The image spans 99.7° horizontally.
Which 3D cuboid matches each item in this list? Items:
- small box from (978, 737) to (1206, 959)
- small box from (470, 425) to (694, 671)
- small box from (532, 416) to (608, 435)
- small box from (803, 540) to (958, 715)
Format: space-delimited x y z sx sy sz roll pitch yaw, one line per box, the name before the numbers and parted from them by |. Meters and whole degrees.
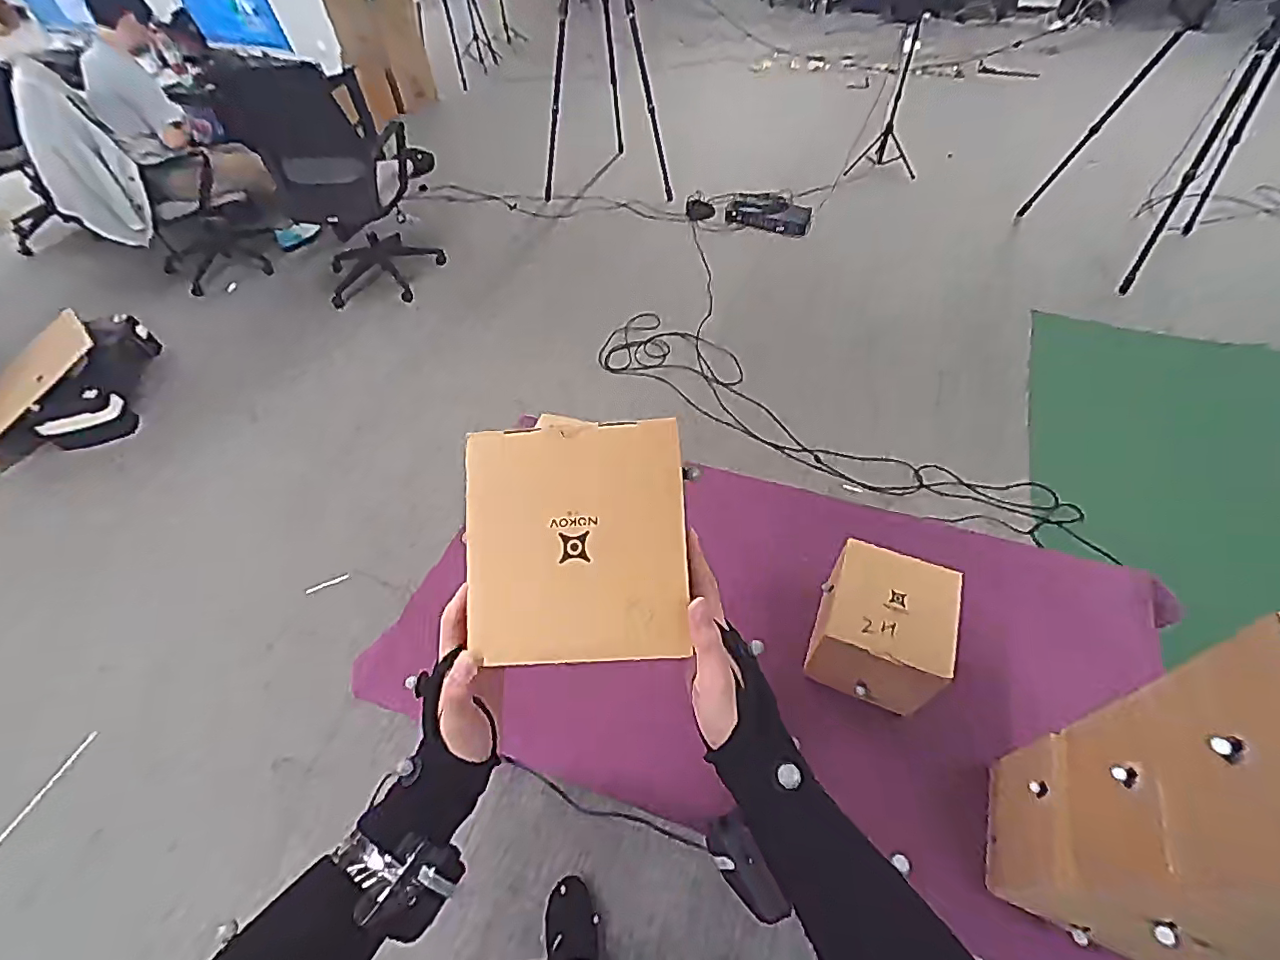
small box | 0.547 0.447 0.655 0.179 0.176 0.168 18 53 16
small box | -0.039 0.060 0.478 0.168 0.176 0.179 -4 81 4
small box | -0.126 0.006 1.036 0.179 0.176 0.168 12 53 12
small box | 0.365 0.229 0.838 0.168 0.176 0.179 18 55 17
